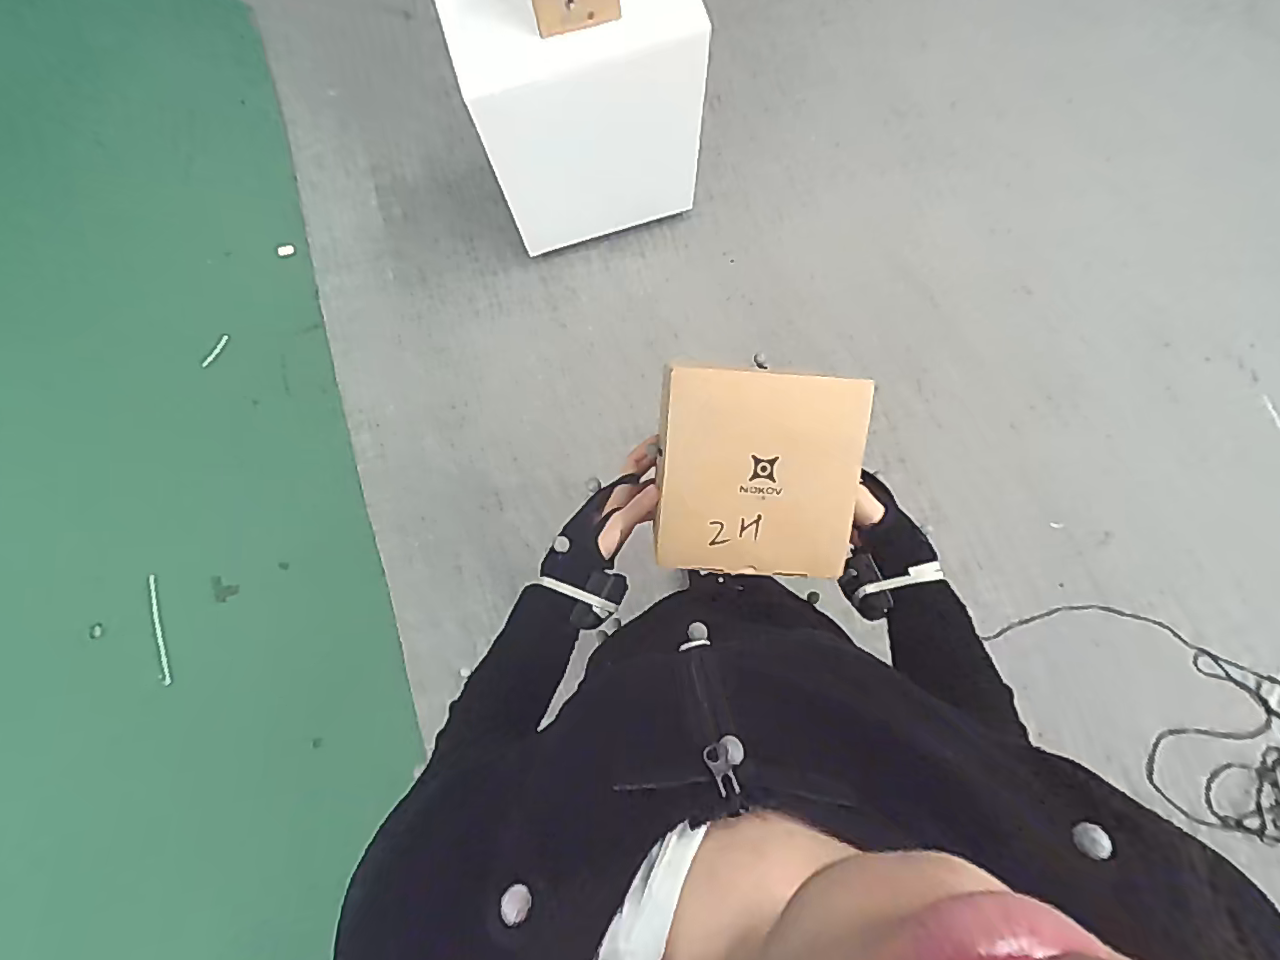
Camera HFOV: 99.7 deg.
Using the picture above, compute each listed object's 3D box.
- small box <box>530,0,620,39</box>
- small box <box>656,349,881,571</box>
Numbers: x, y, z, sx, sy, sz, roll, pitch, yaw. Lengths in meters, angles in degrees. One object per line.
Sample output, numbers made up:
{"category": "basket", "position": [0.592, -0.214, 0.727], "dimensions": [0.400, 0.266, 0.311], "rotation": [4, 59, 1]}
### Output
{"category": "small box", "position": [-0.138, -0.972, 0.992], "dimensions": [0.168, 0.176, 0.179], "rotation": [-15, 80, 0]}
{"category": "small box", "position": [0.103, -0.030, 0.513], "dimensions": [0.168, 0.176, 0.179], "rotation": [3, 103, 0]}
